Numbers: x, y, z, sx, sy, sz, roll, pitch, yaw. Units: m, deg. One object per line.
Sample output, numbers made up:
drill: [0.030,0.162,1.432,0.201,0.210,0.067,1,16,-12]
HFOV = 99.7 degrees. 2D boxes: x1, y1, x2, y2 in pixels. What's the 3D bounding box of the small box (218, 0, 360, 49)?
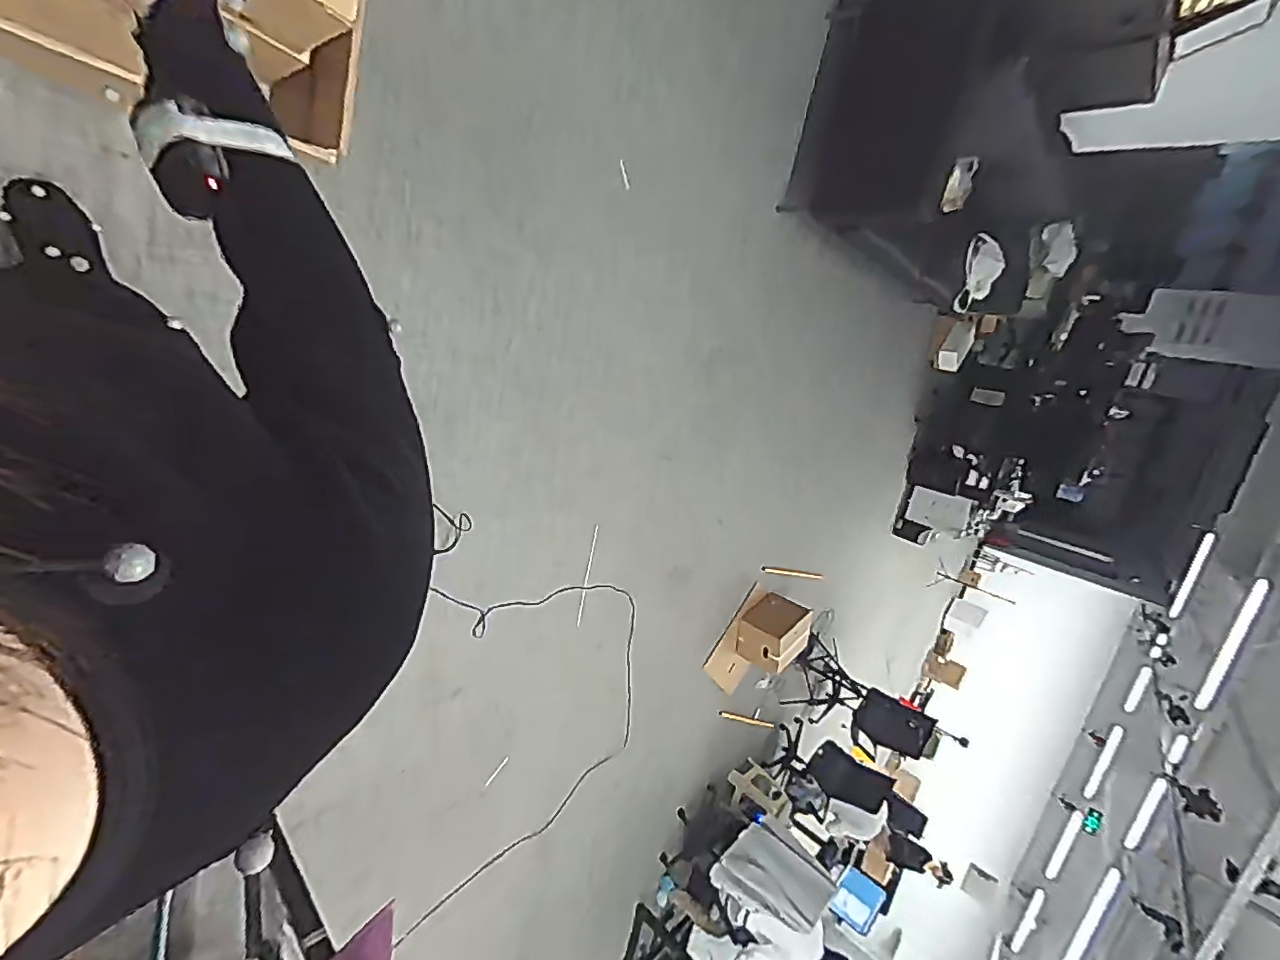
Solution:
small box: [-0.383,-0.578,0.537,0.168,0.176,0.179,3,106,-50]
